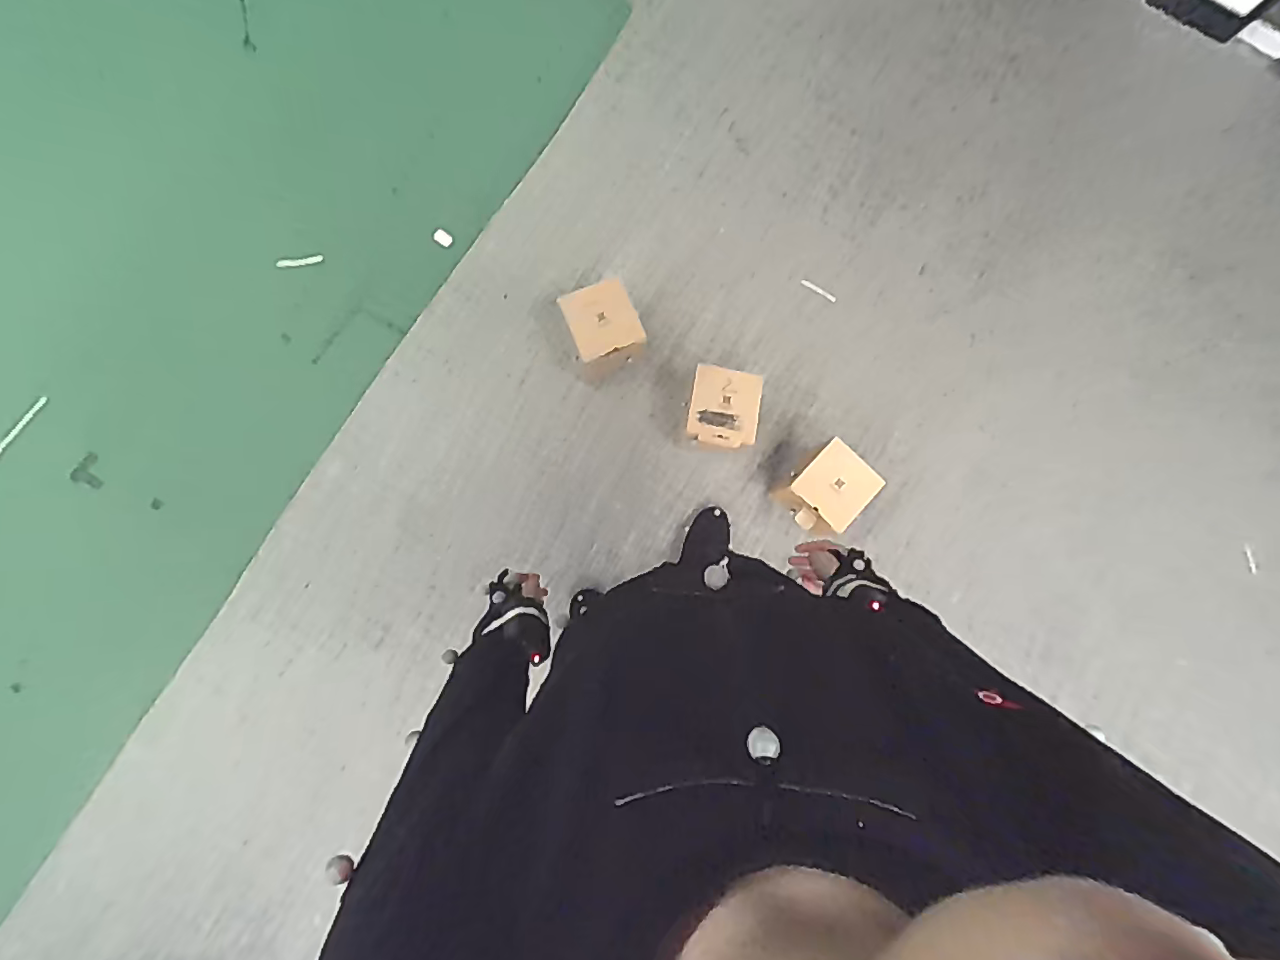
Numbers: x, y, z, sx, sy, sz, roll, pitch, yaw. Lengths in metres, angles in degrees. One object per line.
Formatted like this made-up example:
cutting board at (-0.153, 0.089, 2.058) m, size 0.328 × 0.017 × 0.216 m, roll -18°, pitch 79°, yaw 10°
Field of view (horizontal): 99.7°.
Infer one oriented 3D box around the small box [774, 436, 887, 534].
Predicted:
small box at (0.463, 0.018, 1.344) m, size 0.168 × 0.176 × 0.179 m, roll 44°, pitch 83°, yaw 2°

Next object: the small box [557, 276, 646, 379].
small box at (-0.095, -0.372, 1.357) m, size 0.168 × 0.176 × 0.179 m, roll -23°, pitch 84°, yaw -8°
